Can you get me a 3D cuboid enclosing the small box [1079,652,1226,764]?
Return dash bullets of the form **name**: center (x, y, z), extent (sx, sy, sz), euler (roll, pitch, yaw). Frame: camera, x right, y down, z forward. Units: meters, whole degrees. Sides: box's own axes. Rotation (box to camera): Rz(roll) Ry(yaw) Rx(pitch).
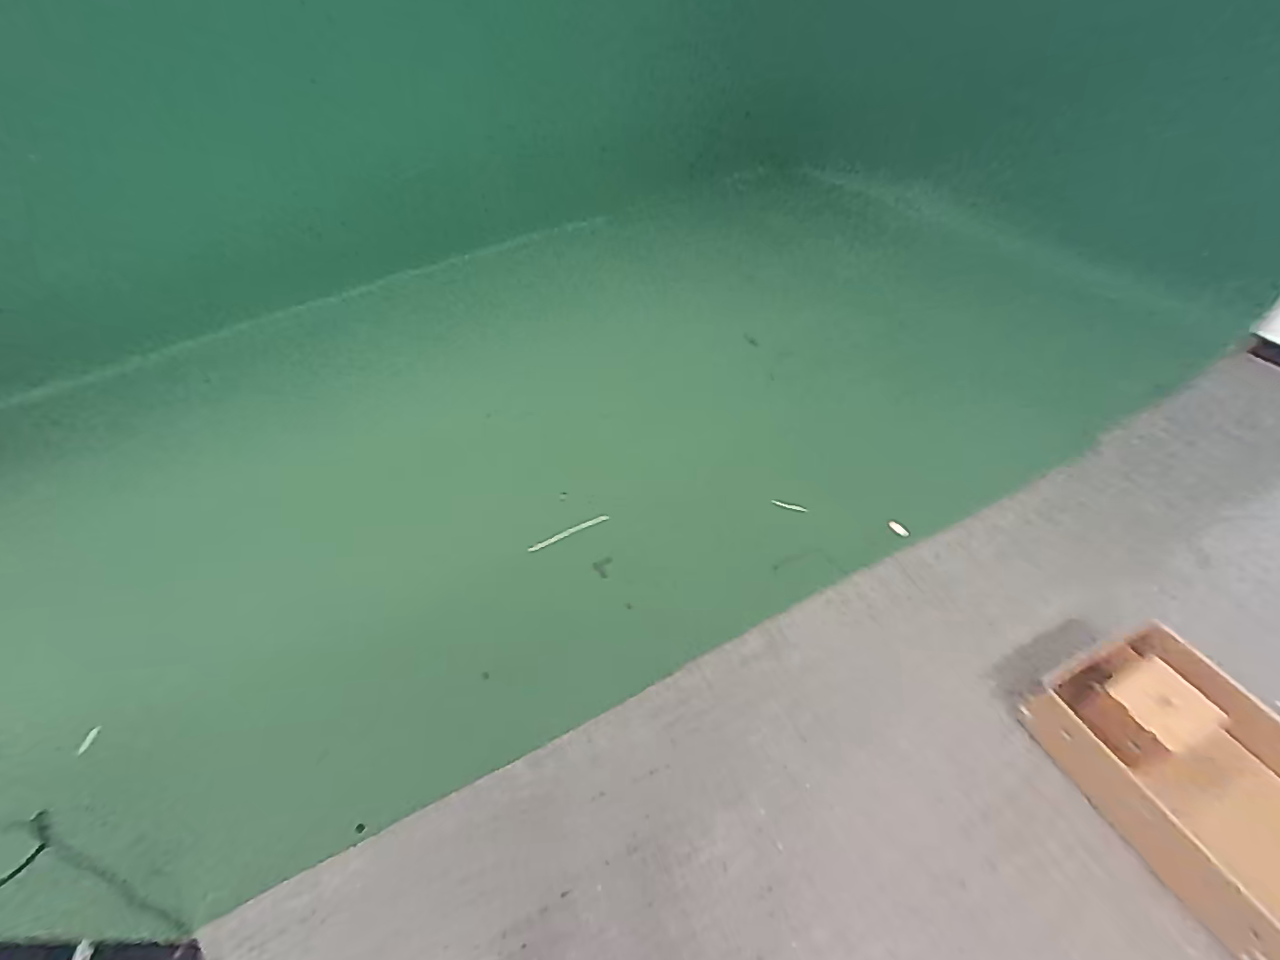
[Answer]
- **small box**: center (1.220, 0.557, 1.309), extent (0.179, 0.176, 0.168), euler (-23, 51, -12)
